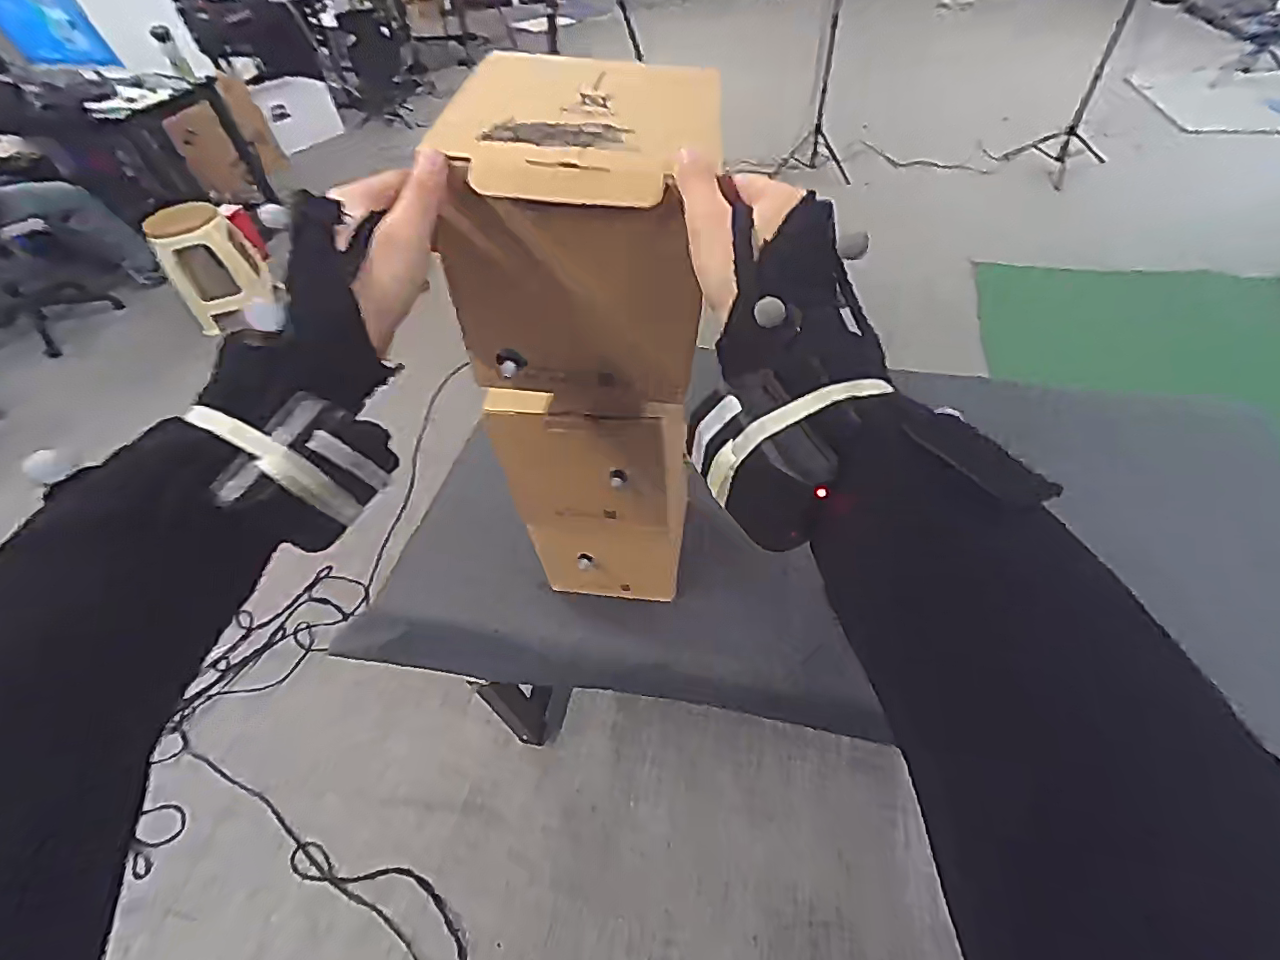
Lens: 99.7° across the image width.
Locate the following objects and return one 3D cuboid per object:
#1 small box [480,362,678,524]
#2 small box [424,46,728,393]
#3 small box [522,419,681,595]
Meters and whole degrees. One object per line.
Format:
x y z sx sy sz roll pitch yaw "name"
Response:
-0.047 -0.071 0.580 0.168 0.176 0.179 4 49 6 "small box"
-0.030 -0.184 0.396 0.168 0.176 0.179 6 52 0 "small box"
-0.036 0.032 0.706 0.168 0.176 0.179 4 50 8 "small box"
